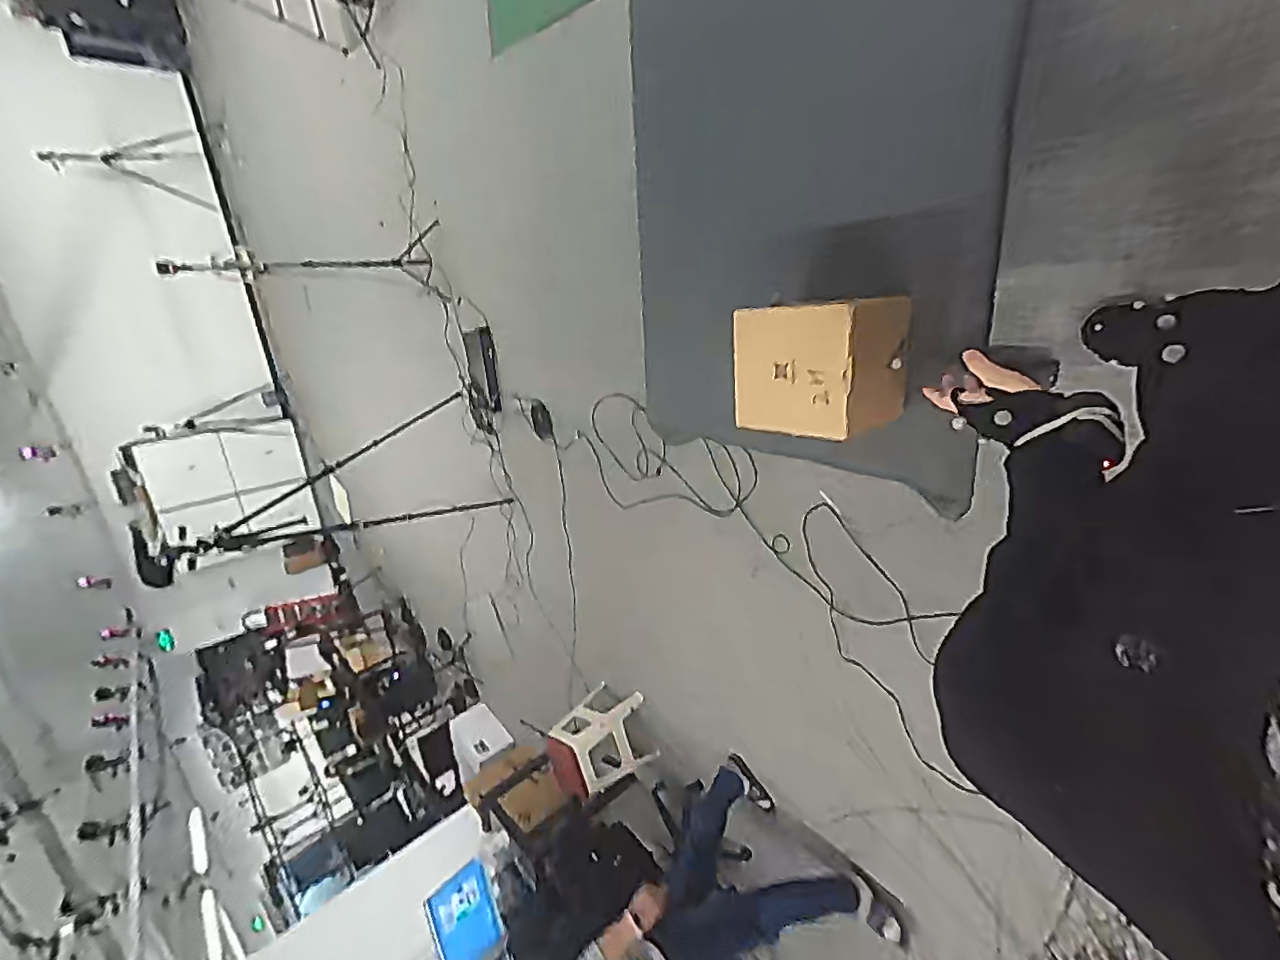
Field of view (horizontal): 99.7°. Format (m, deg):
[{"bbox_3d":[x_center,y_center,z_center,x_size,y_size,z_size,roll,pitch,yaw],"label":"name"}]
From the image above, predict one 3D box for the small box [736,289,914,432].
[{"bbox_3d":[0.256,-0.173,0.761,0.179,0.176,0.168,14,118,46],"label":"small box"}]
